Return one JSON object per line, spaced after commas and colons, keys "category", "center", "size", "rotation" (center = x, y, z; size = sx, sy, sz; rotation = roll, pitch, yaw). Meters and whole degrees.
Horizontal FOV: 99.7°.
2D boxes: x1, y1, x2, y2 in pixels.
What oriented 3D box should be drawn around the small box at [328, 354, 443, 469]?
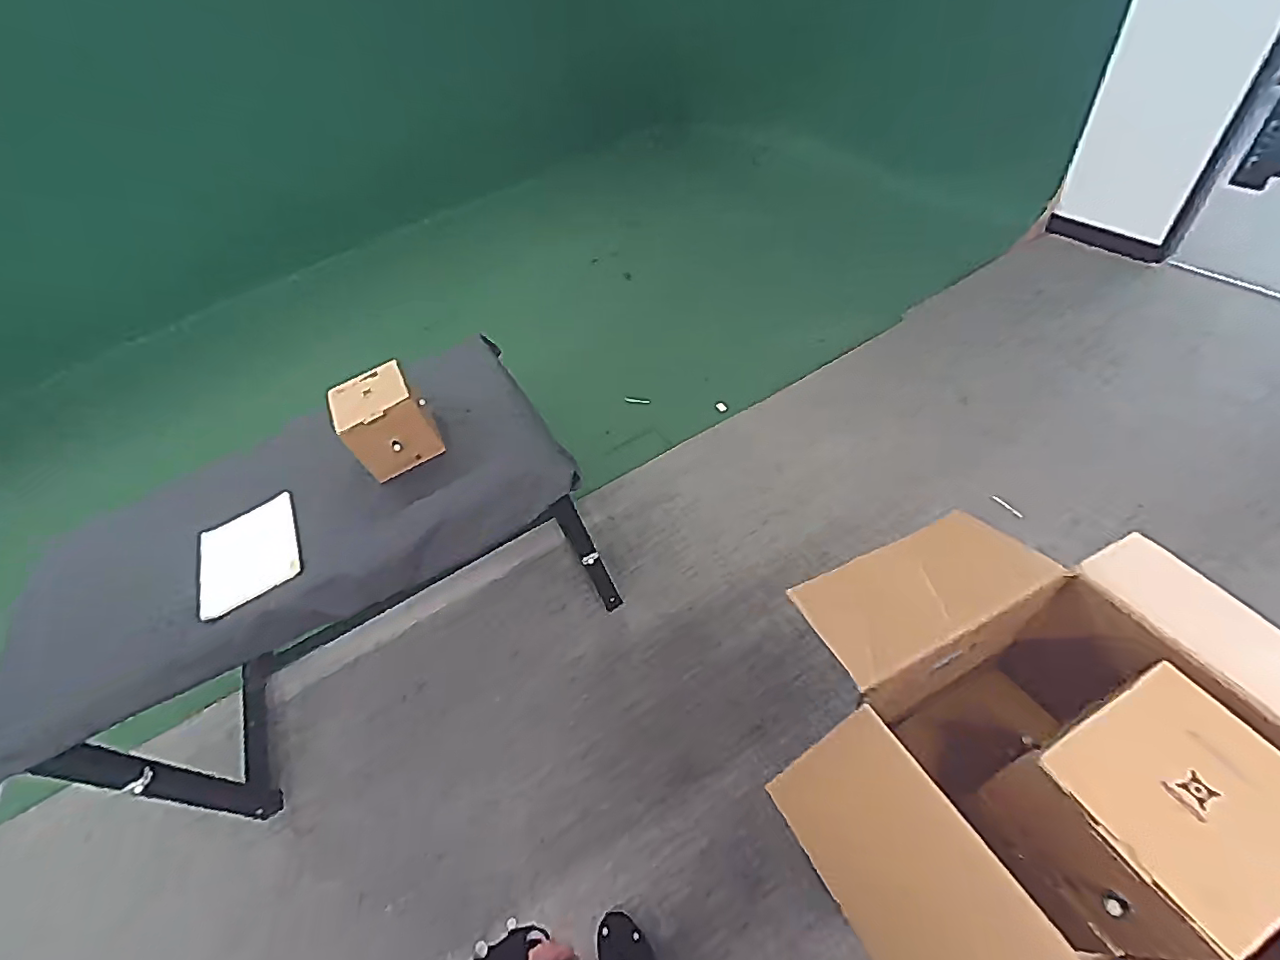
{"category": "small box", "center": [-0.576, -0.149, 1.236], "size": [0.168, 0.176, 0.179], "rotation": [-29, 52, -10]}
